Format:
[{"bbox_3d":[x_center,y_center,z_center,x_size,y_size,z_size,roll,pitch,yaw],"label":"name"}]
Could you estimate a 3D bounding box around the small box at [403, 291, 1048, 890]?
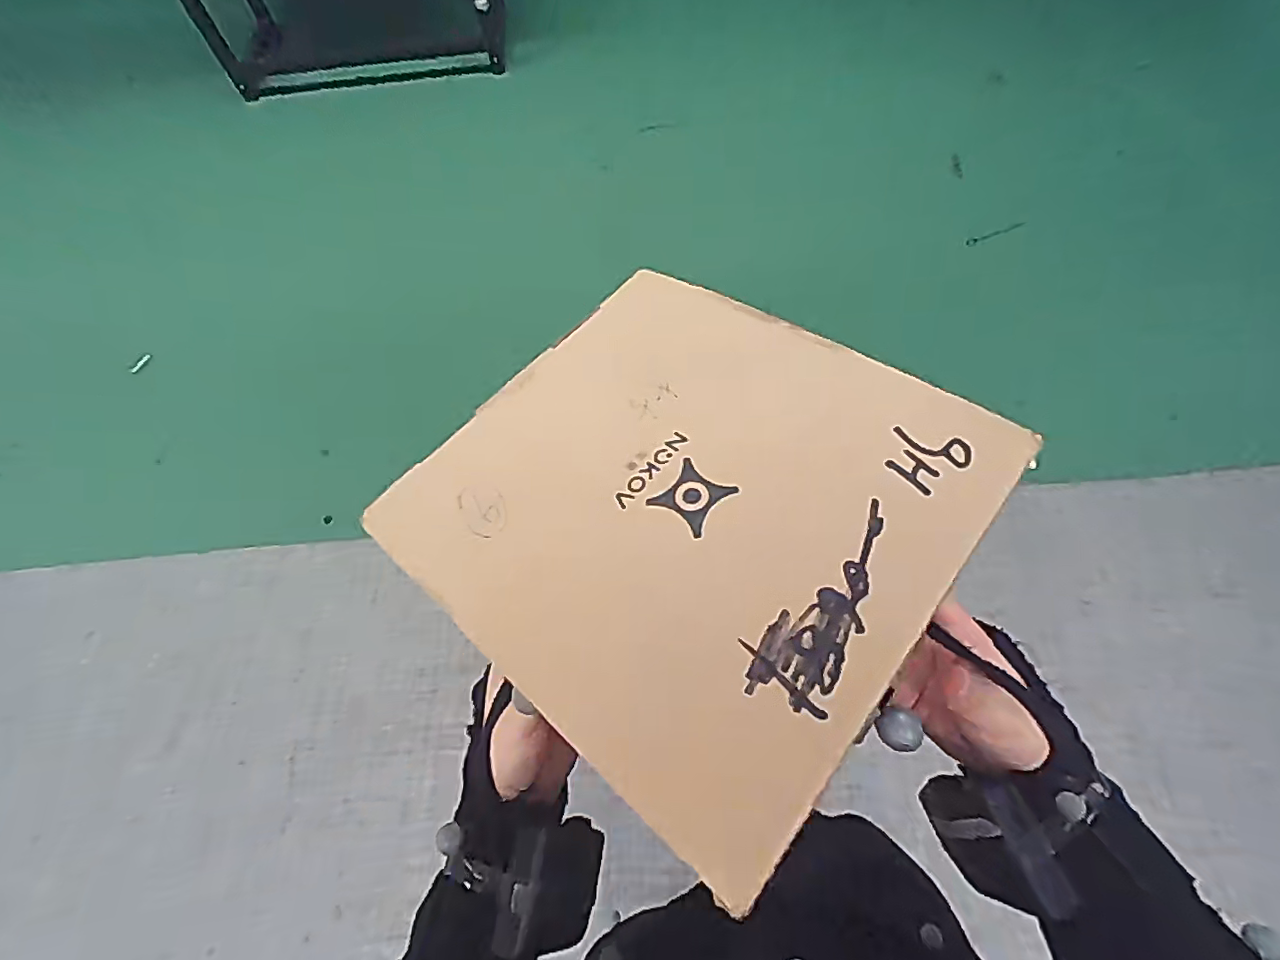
[{"bbox_3d":[0.035,0.048,0.262,0.179,0.176,0.168,33,71,28],"label":"small box"}]
